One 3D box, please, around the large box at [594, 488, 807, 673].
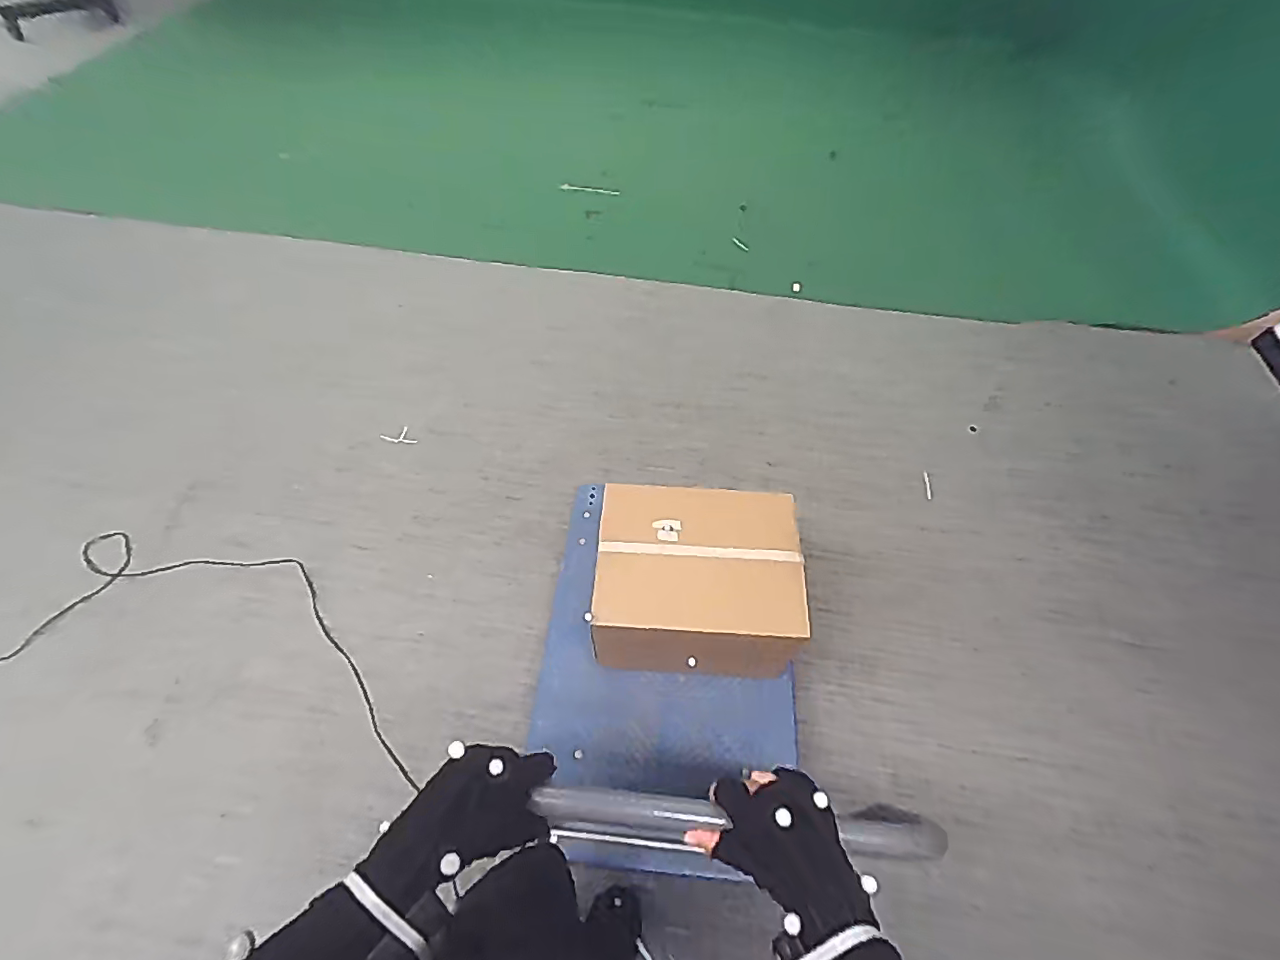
[{"bbox_3d":[0.118,0.233,1.204,0.408,0.320,0.320,3,56,1],"label":"large box"}]
